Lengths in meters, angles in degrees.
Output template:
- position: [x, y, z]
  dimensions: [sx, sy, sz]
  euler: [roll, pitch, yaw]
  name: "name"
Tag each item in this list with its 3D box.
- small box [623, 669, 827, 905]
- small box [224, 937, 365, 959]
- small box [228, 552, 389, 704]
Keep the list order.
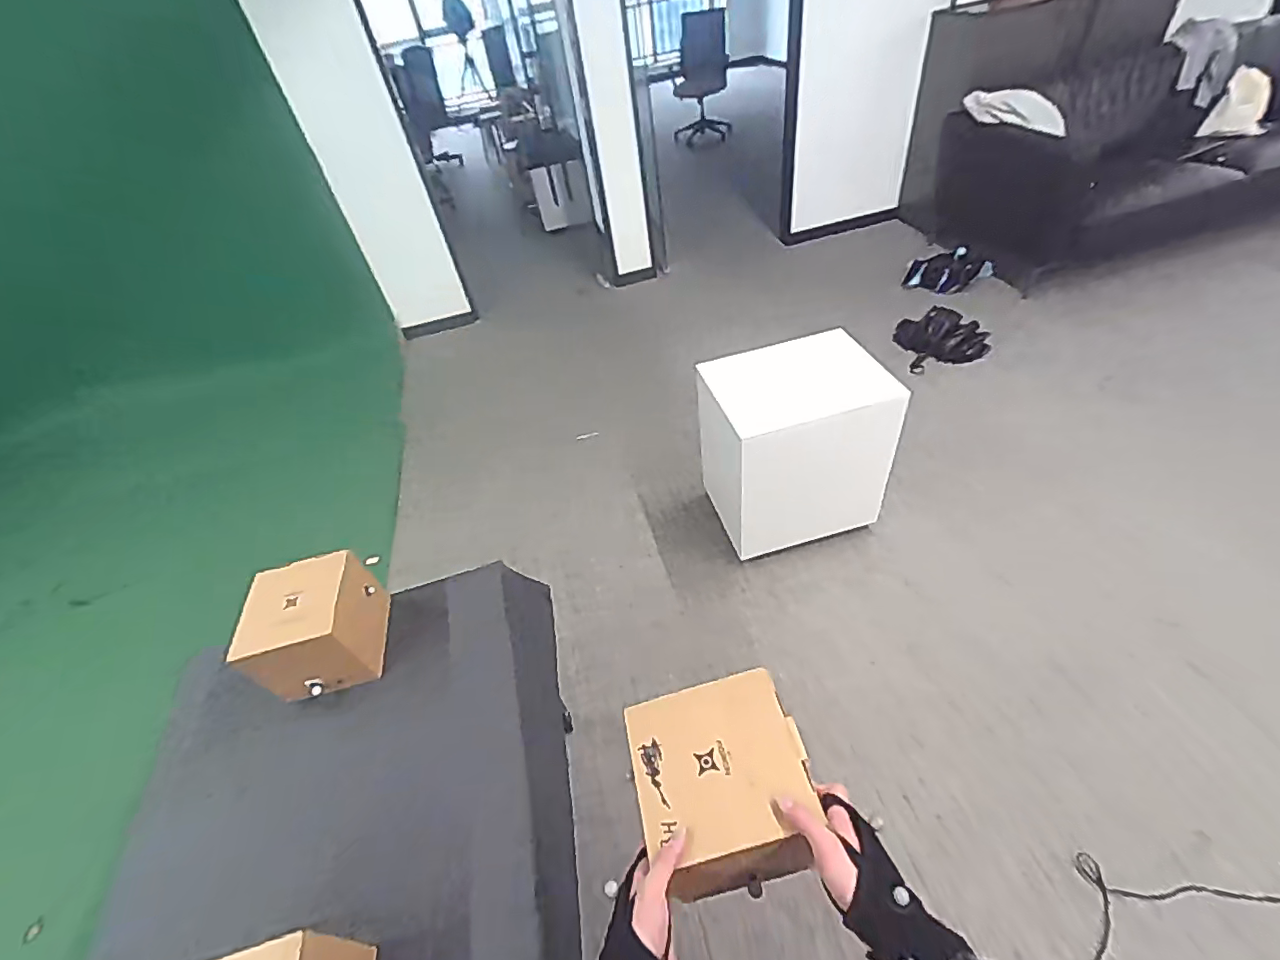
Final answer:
- position: [0.093, 0.347, 0.611]
  dimensions: [0.179, 0.176, 0.168]
  euler: [-17, 41, 1]
  name: "small box"
- position: [-0.402, 0.613, 0.556]
  dimensions: [0.168, 0.176, 0.179]
  euler: [-15, 43, -5]
  name: "small box"
- position: [-0.562, 0.260, 0.948]
  dimensions: [0.168, 0.176, 0.179]
  euler: [-16, 45, -3]
  name: "small box"
